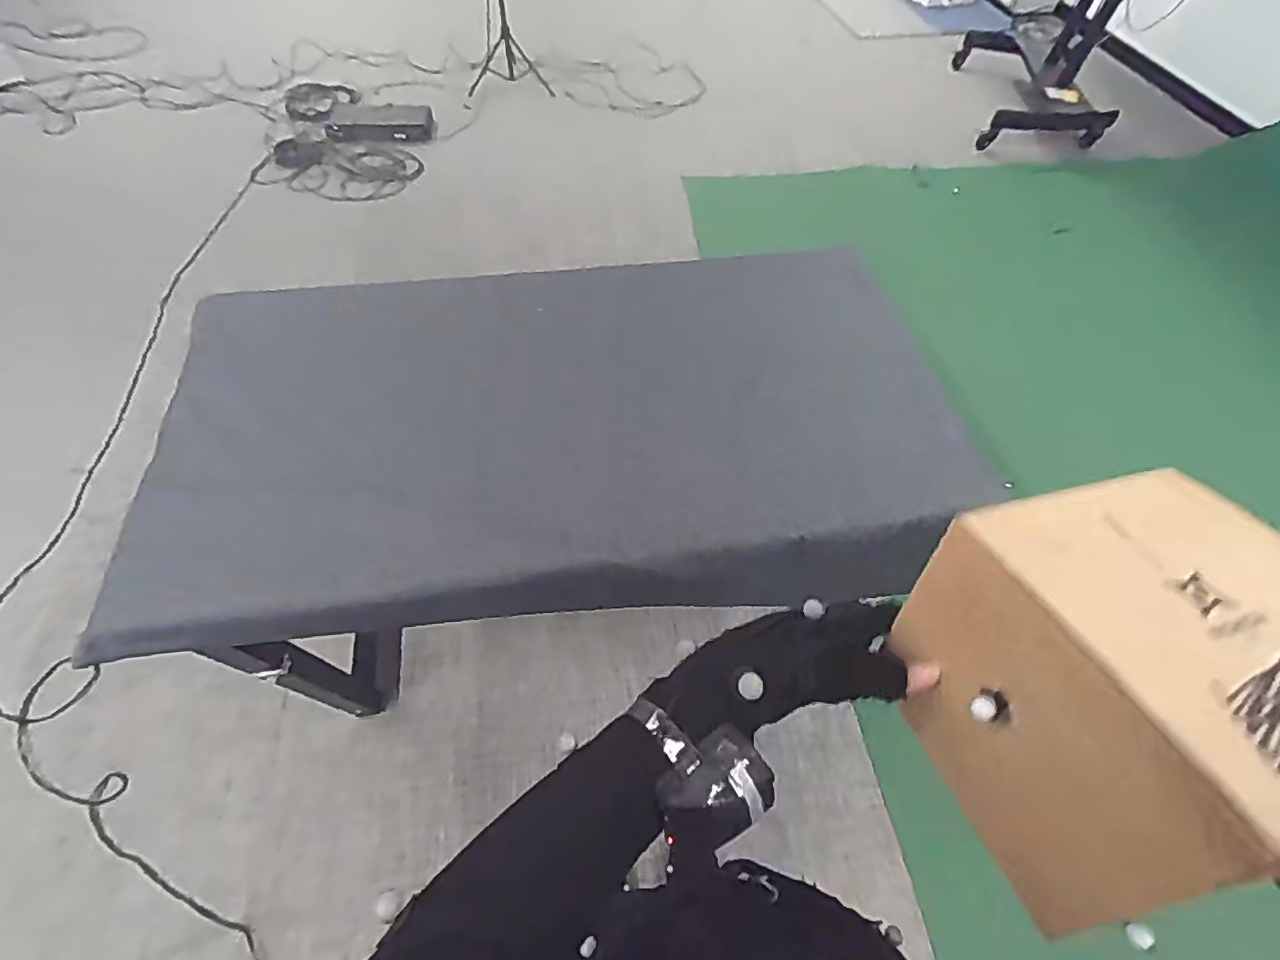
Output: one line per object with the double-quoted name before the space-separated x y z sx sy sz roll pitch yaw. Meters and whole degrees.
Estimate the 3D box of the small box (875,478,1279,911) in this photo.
"small box" 0.279 0.127 0.327 0.168 0.176 0.179 -9 42 -12
